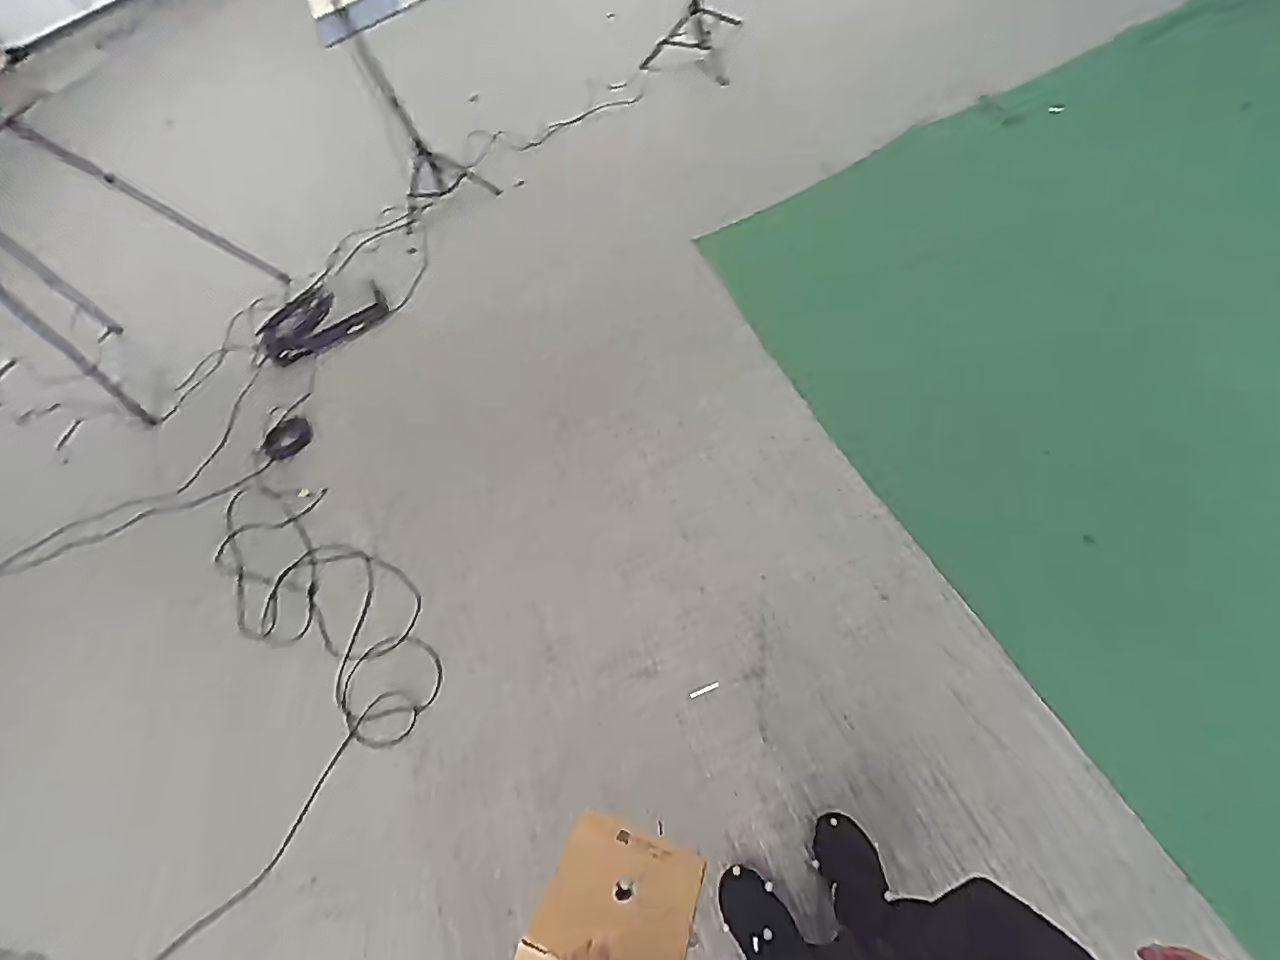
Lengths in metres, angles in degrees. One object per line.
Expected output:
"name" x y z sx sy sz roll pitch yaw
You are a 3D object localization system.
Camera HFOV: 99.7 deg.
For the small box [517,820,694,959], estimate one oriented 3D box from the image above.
"small box" -0.042 0.550 0.633 0.168 0.176 0.179 17 109 12
